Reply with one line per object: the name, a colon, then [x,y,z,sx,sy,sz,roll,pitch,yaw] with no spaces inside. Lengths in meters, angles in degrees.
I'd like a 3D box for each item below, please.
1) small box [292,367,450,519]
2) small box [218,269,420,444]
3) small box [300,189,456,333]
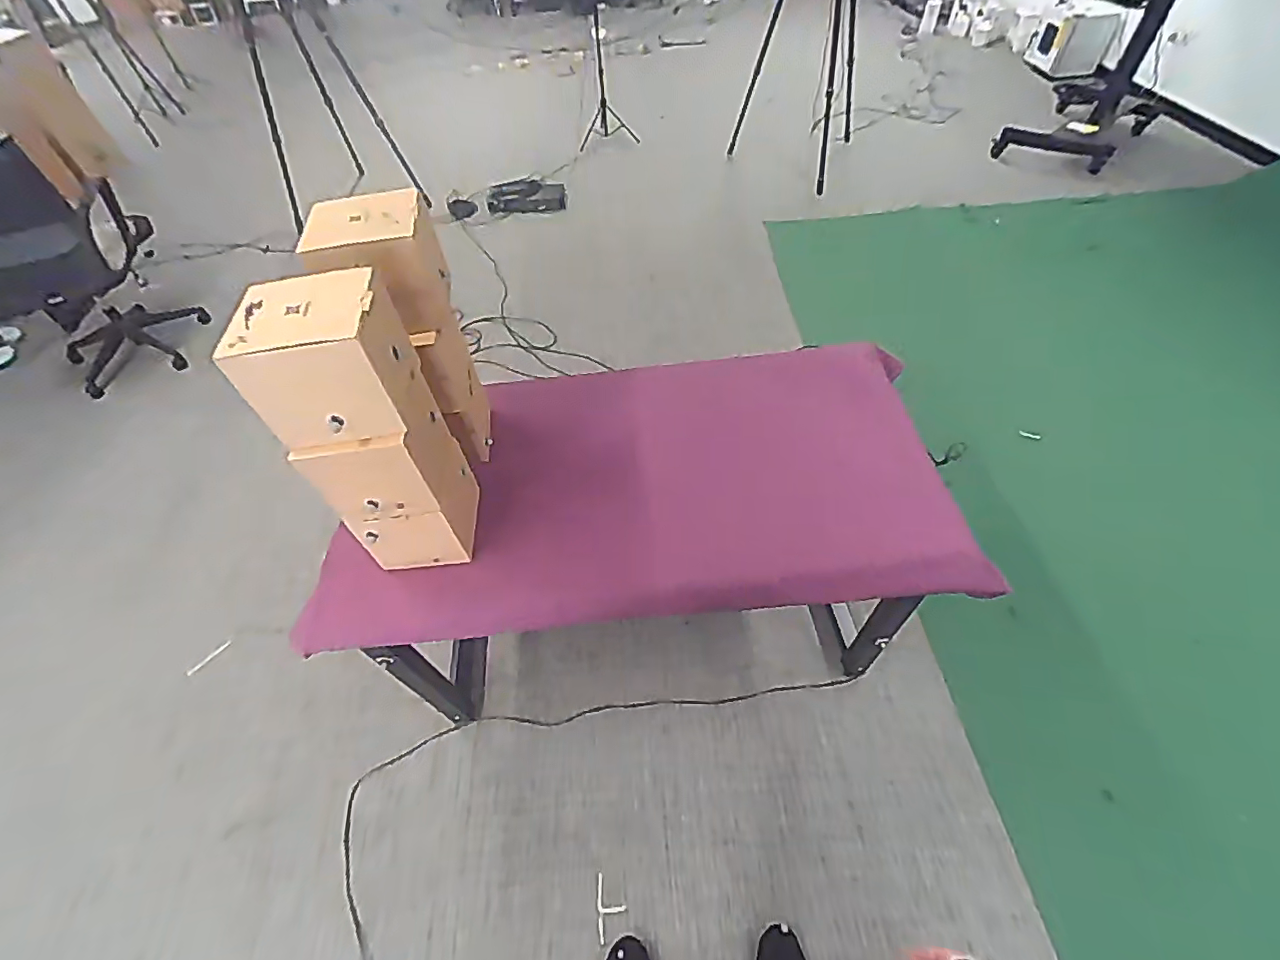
small box: [-0.422,-0.059,0.886,0.168,0.176,0.179,-8,52,-2]
small box: [-0.432,-0.171,0.767,0.179,0.176,0.168,-9,51,-3]
small box: [-0.429,-0.360,0.915,0.179,0.176,0.168,-10,53,-5]
